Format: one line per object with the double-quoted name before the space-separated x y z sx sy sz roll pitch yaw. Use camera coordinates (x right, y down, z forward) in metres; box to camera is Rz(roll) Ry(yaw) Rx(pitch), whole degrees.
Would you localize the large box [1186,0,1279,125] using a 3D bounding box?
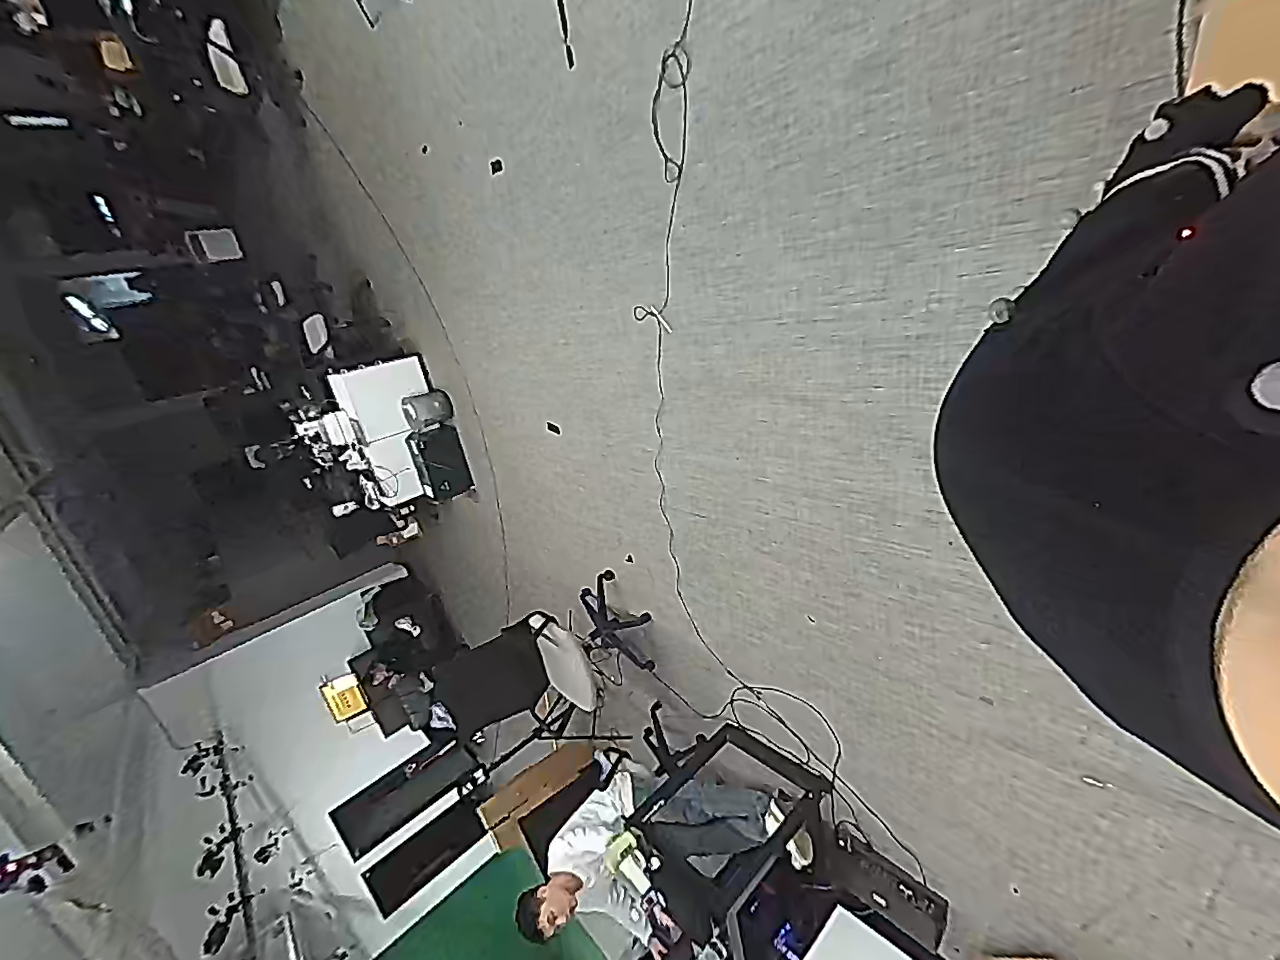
"large box" 0.995 -0.669 0.661 0.408 0.320 0.320 17 124 45
